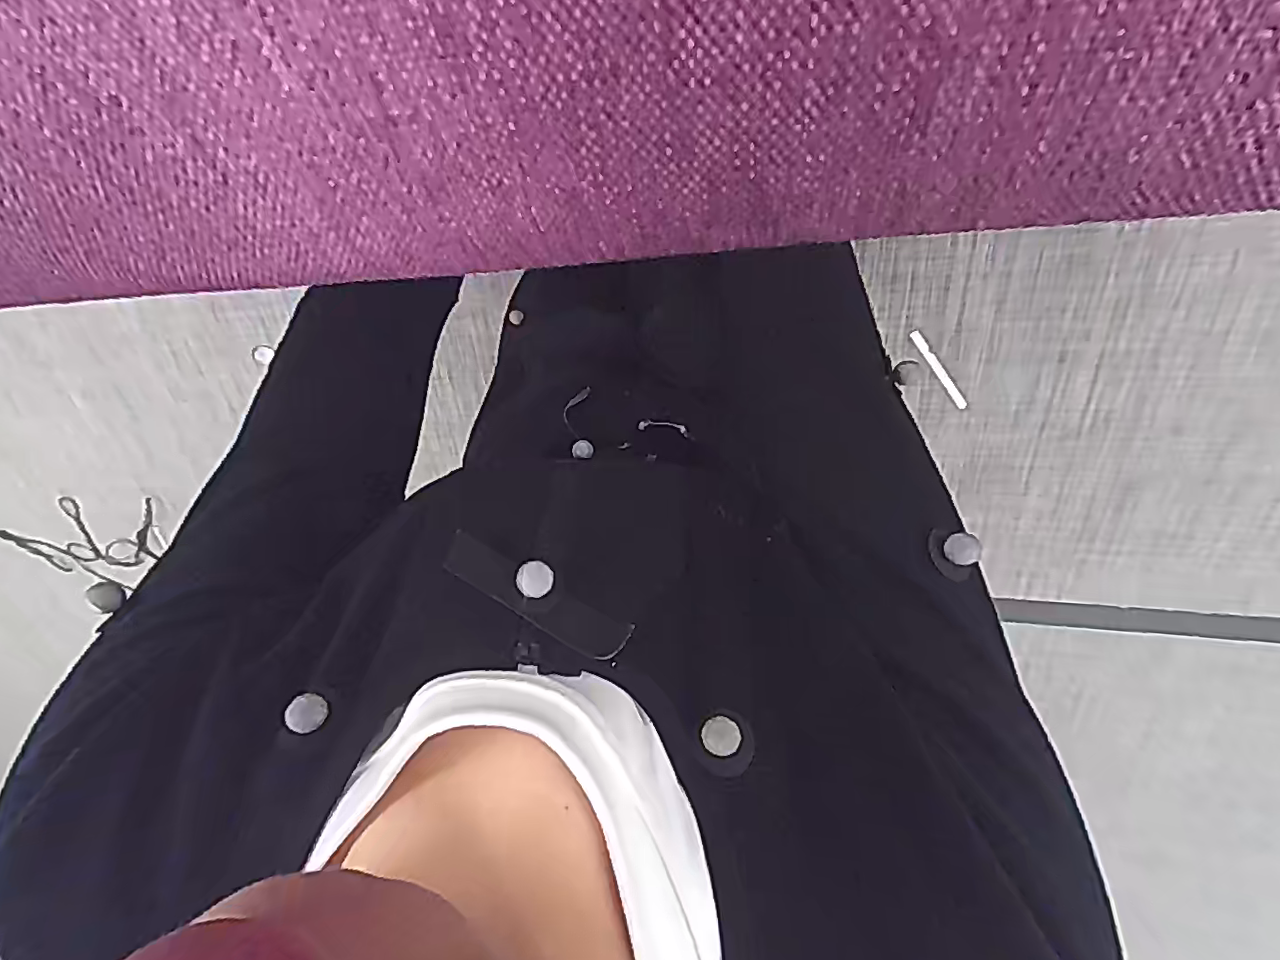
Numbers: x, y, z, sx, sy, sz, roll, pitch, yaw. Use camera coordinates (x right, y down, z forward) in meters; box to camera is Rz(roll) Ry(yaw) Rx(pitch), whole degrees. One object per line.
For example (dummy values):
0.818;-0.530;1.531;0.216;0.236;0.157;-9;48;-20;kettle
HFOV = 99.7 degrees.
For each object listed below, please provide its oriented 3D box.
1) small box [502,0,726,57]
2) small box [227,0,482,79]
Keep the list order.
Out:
-0.018;-0.465;0.444;0.179;0.176;0.168;-1;124;8;small box
-0.265;-0.492;0.502;0.179;0.176;0.168;0;119;12;small box
